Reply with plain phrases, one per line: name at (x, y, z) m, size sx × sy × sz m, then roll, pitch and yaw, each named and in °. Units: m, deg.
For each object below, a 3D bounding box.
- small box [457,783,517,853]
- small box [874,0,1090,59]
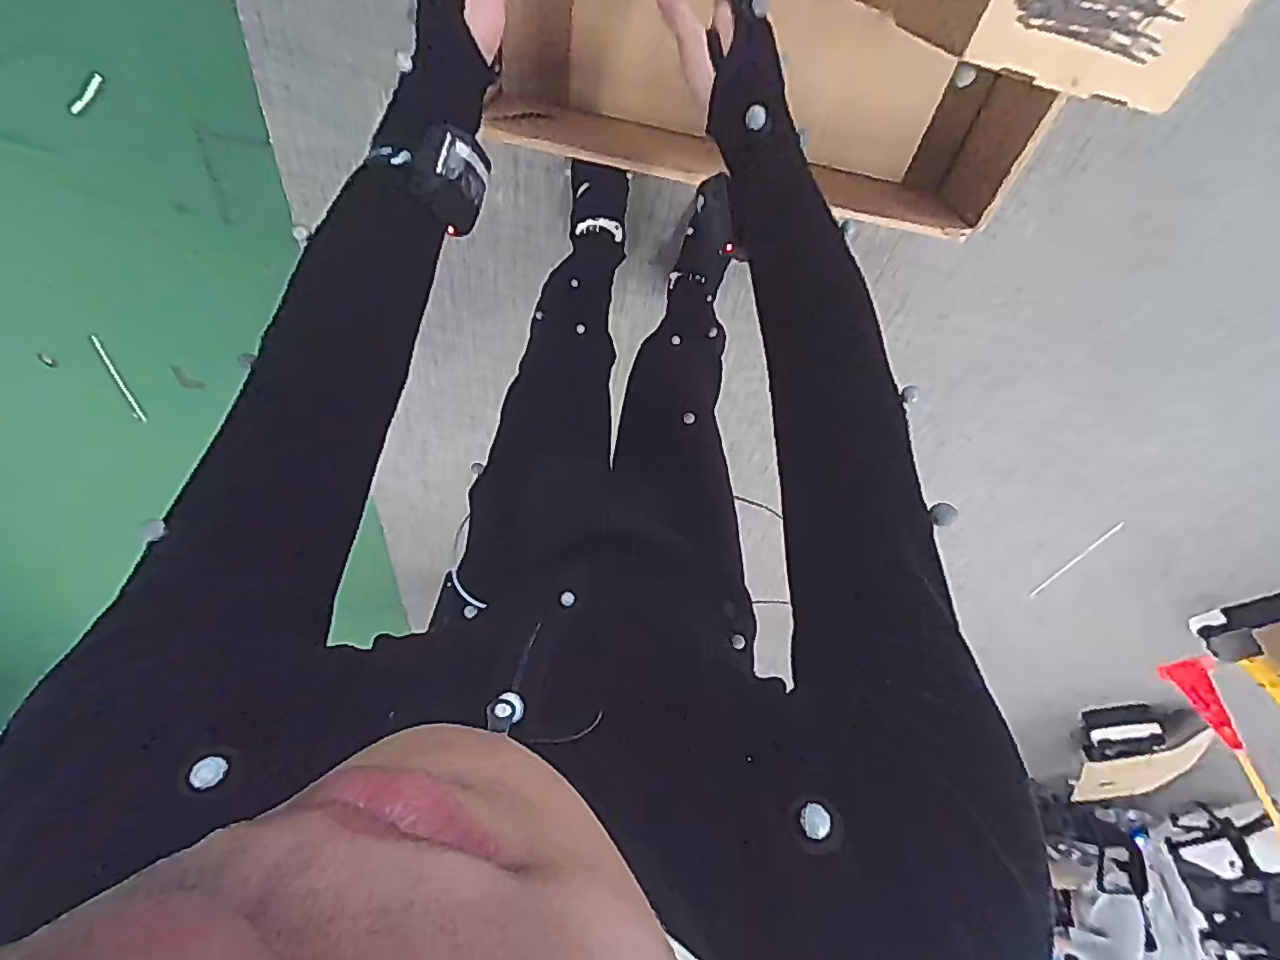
small box at (-0.520, 1.161, 1.855) m, size 0.168 × 0.176 × 0.179 m, roll 9°, pitch 136°, yaw -7°
small box at (0.323, -0.520, 0.484) m, size 0.168 × 0.176 × 0.179 m, roll 9°, pitch 137°, yaw -7°
